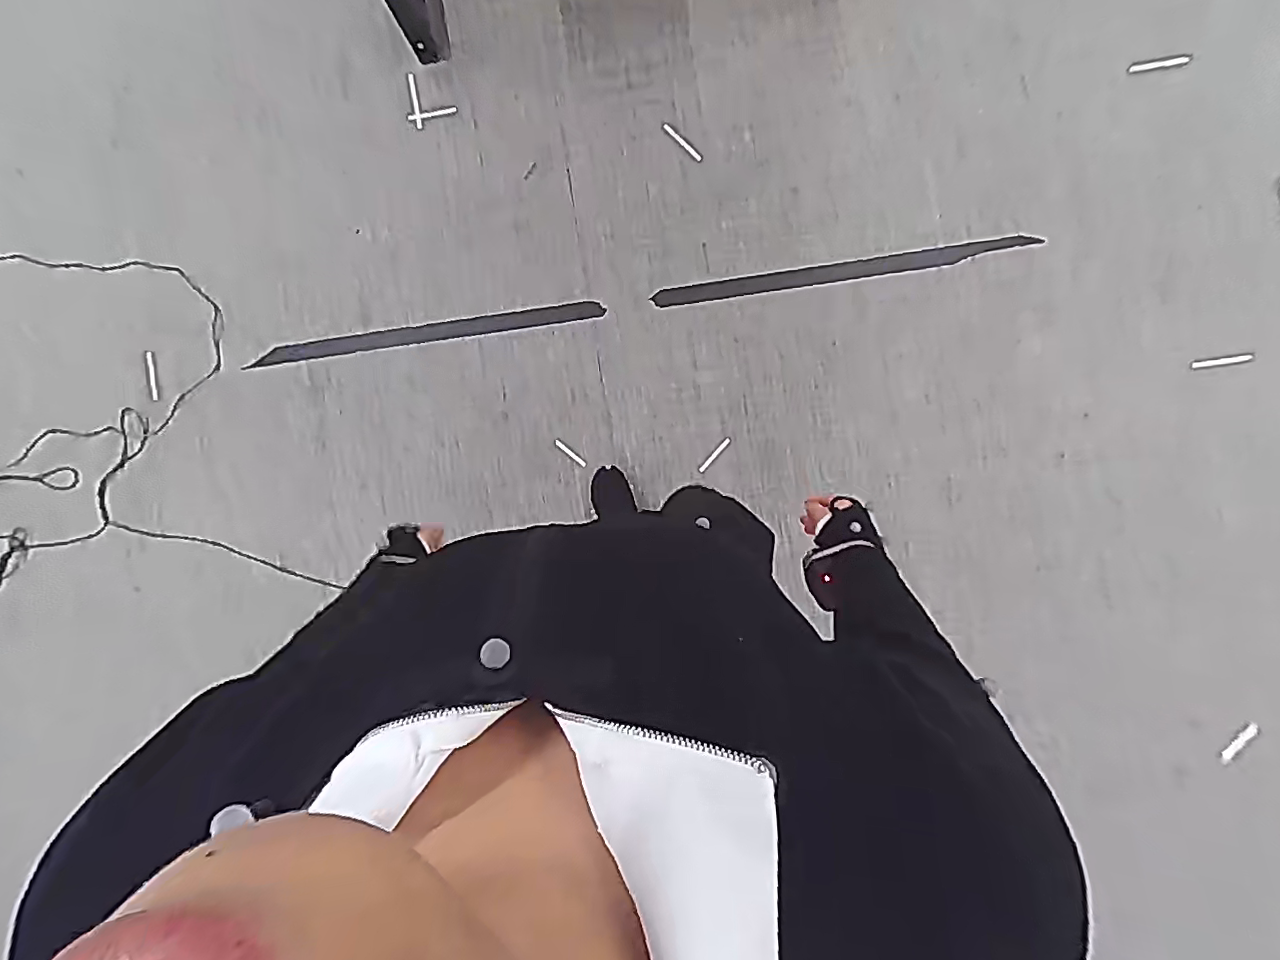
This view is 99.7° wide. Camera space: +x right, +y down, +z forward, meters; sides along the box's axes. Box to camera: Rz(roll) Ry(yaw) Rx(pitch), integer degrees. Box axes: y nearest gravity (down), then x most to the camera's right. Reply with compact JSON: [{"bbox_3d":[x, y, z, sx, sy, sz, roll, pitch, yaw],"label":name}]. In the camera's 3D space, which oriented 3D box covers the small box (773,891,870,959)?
[{"bbox_3d":[0.388,1.023,1.139,0.168,0.176,0.179,-11,91,3],"label":"small box"}]
